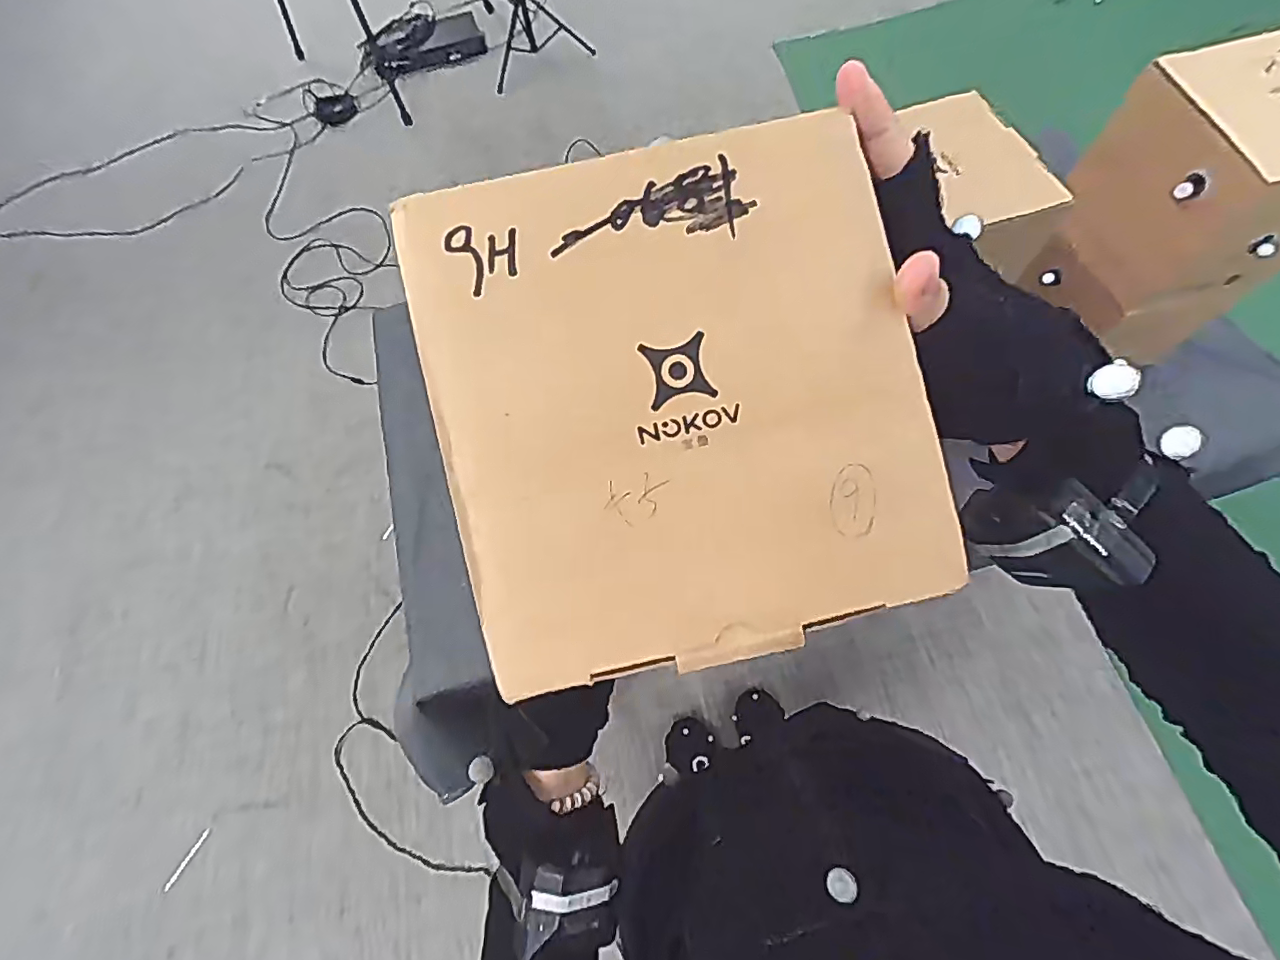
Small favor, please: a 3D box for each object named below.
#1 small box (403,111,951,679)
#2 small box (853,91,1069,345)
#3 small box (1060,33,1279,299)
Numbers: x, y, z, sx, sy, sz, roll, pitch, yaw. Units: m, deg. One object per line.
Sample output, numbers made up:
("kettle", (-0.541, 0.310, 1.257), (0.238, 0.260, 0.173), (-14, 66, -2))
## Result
("small box", (0.012, -0.030, 0.270), (0.168, 0.176, 0.179), (-13, 89, -2))
("small box", (0.275, -0.254, 0.568), (0.179, 0.176, 0.168), (-17, 66, -1))
("small box", (0.591, -0.311, 0.561), (0.168, 0.176, 0.179), (-12, 67, 0))
